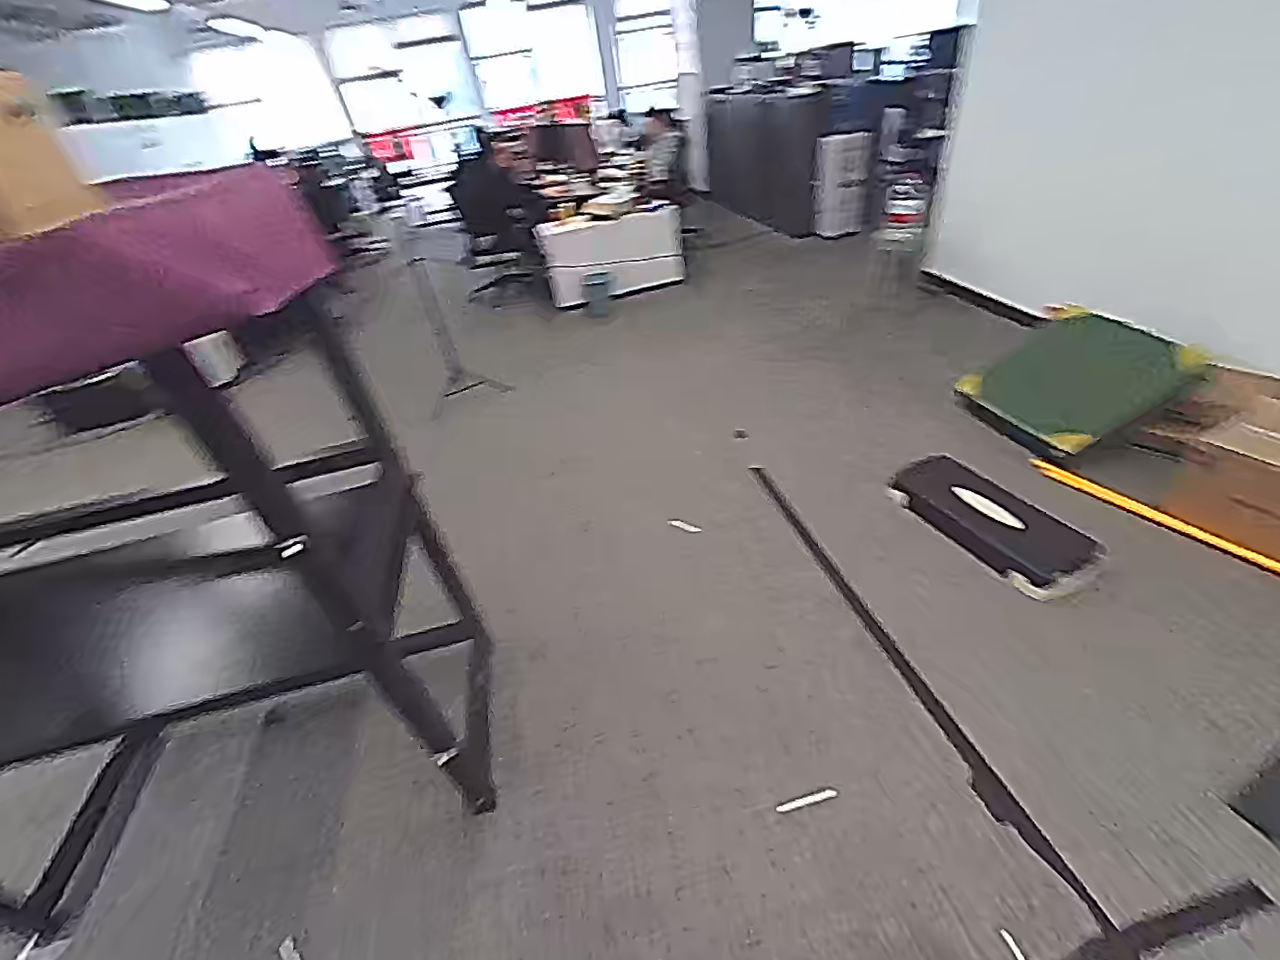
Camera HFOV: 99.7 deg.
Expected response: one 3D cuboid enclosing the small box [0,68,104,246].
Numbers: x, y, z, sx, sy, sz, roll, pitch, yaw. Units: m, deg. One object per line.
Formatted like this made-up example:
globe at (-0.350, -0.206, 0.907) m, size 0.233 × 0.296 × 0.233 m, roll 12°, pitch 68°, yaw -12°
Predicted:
small box at (-0.825, -0.382, 0.654) m, size 0.168 × 0.176 × 0.179 m, roll -13°, pitch 37°, yaw -1°
